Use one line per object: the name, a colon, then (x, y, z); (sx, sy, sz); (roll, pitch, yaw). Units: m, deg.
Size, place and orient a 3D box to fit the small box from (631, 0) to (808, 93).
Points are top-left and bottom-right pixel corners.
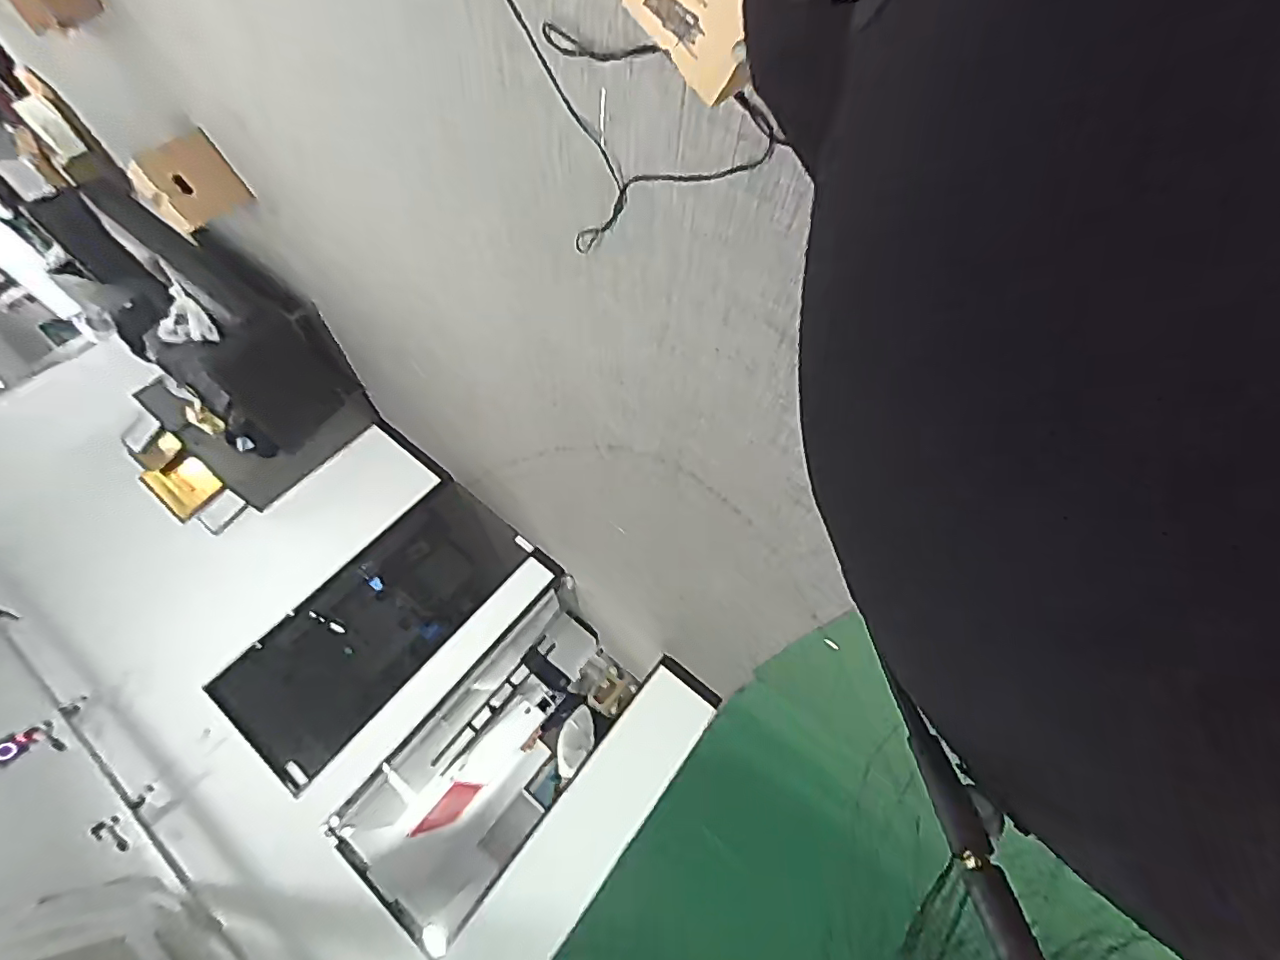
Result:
small box: (0.114, -0.602, 0.610); (0.168, 0.176, 0.179); (46, 156, -7)
